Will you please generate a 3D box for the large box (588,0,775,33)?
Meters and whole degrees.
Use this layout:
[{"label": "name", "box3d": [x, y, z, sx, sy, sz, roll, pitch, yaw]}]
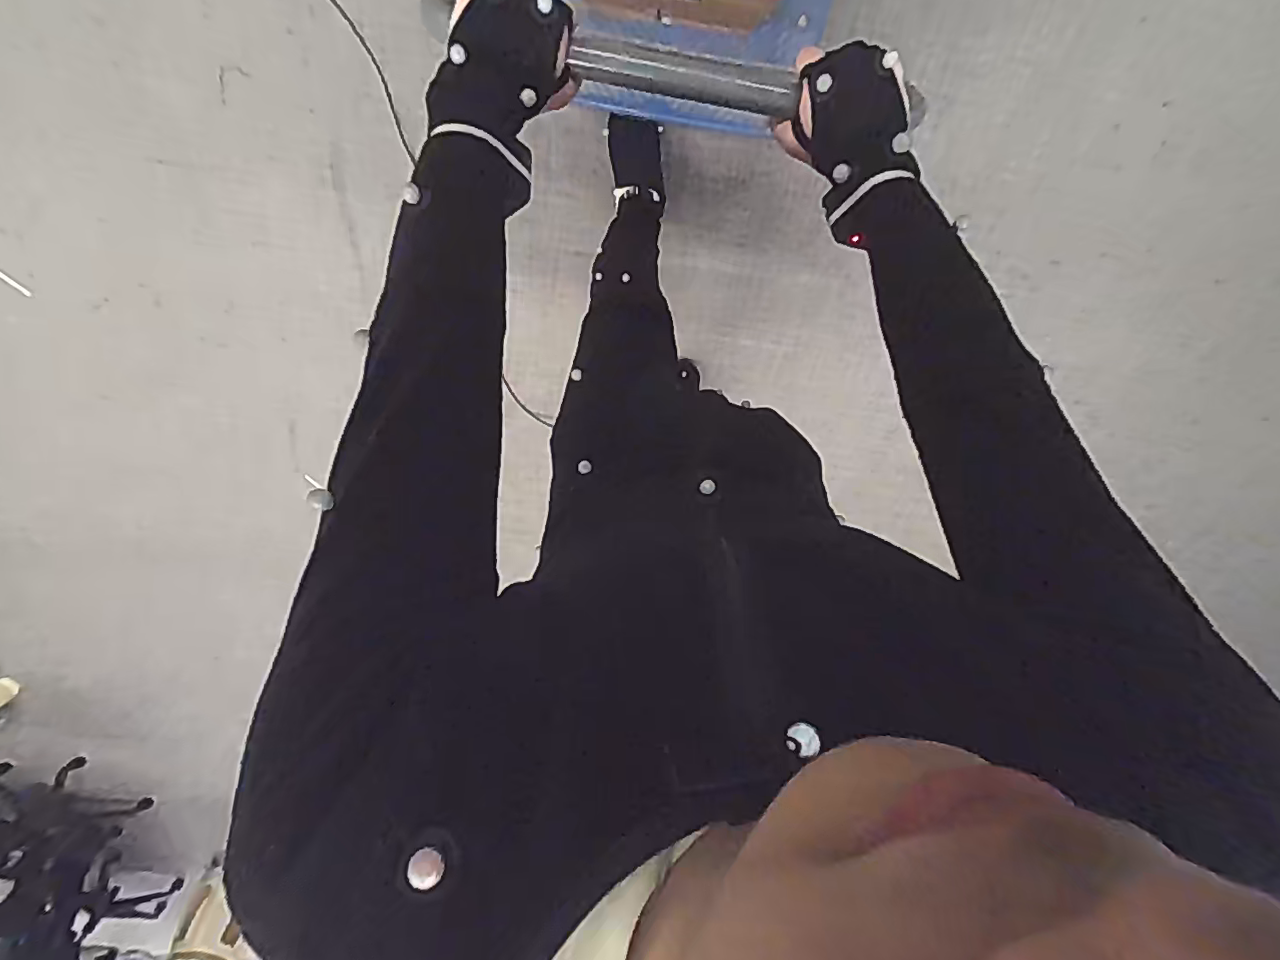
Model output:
[{"label": "large box", "box3d": [0.077, -0.937, 0.773, 0.320, 0.320, 0.408, 6, 120, -4]}]
